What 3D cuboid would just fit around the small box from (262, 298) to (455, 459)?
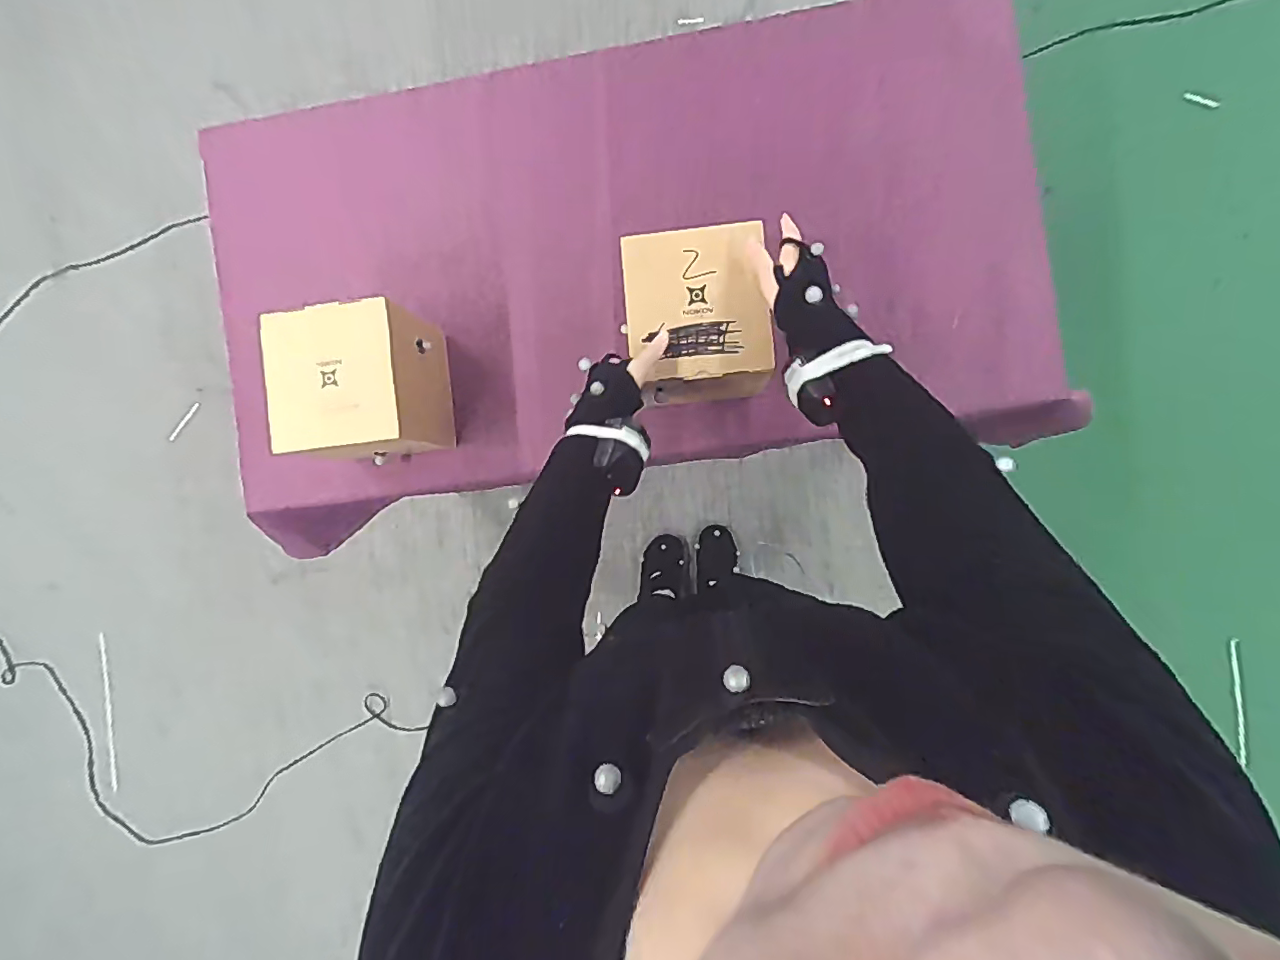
[{"bbox_3d":[-0.371,-0.127,0.738,0.168,0.176,0.179,-6,90,5],"label":"small box"}]
